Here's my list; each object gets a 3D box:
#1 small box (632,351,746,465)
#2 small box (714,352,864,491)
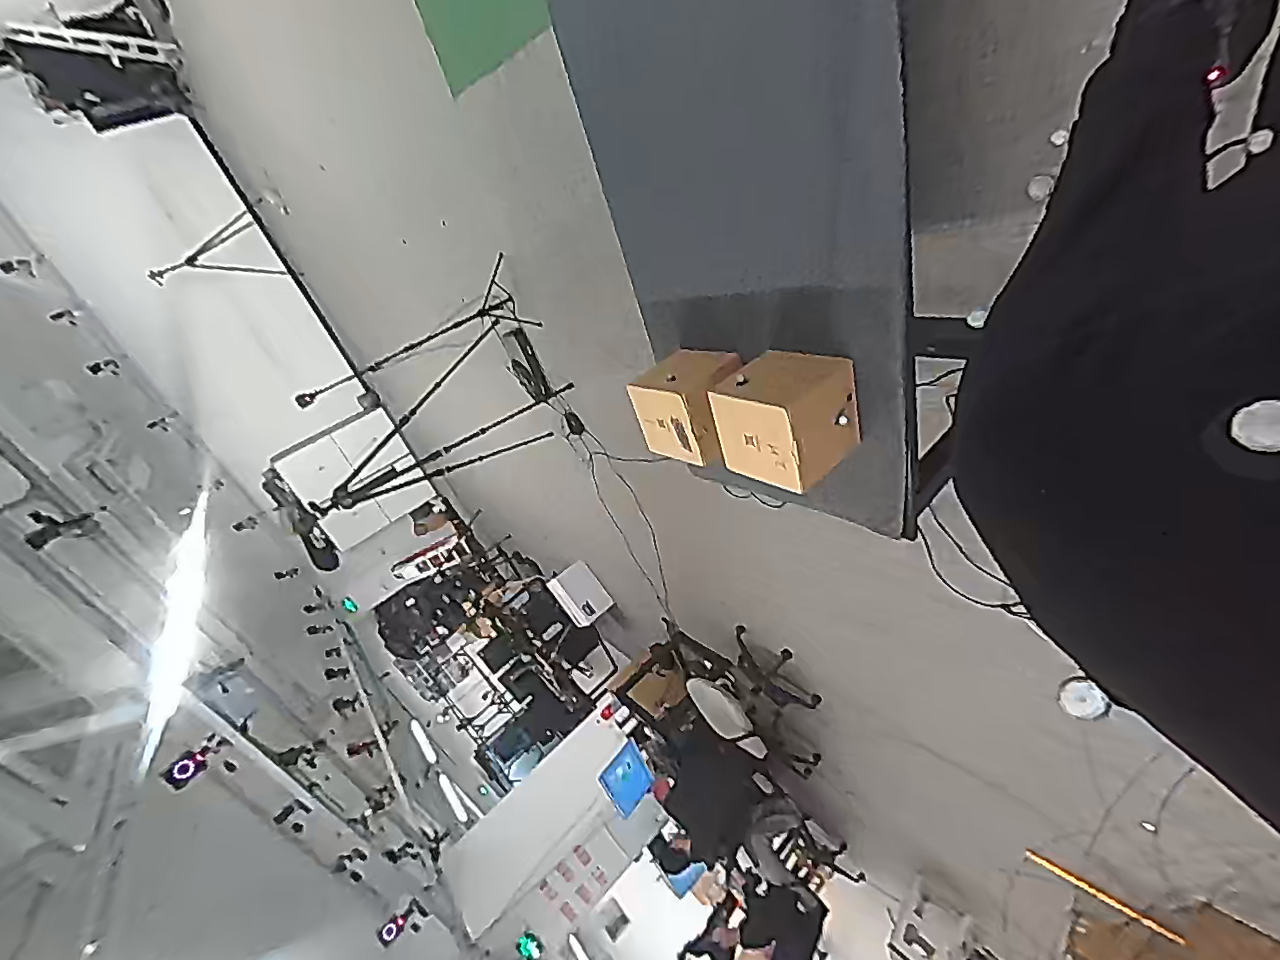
[{"bbox_3d":[0.119,-0.157,1.126,0.179,0.176,0.168,20,140,49],"label":"small box"},{"bbox_3d":[0.261,-0.111,0.942,0.179,0.176,0.168,23,142,49],"label":"small box"}]
